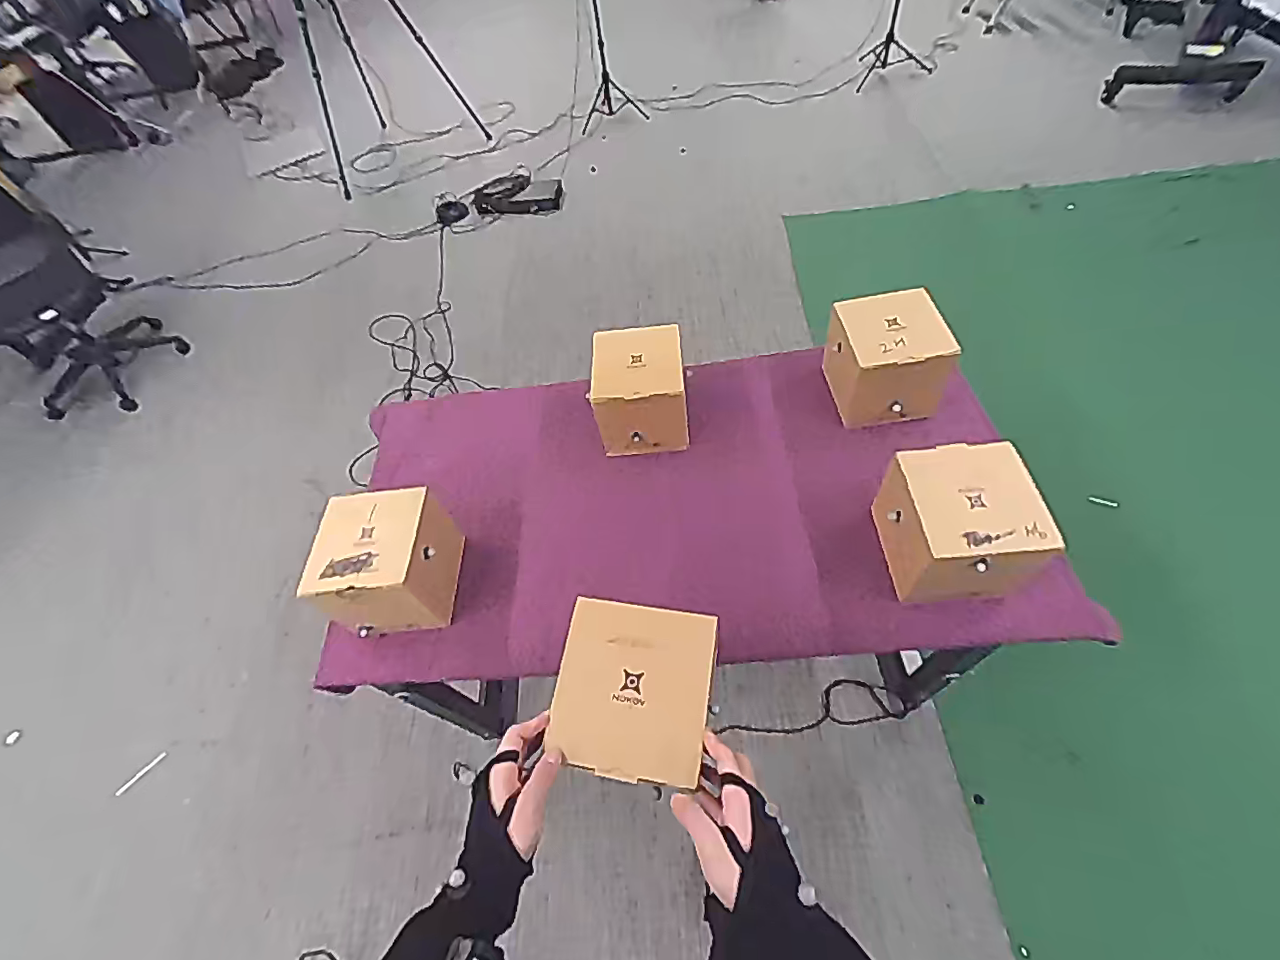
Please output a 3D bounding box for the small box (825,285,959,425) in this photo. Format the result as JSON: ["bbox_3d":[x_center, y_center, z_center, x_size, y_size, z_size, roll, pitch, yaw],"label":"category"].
[{"bbox_3d":[0.452,-0.228,1.005,0.168,0.176,0.179,-9,56,7],"label":"small box"}]

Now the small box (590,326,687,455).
[{"bbox_3d":[0.002,-0.169,1.051,0.168,0.176,0.179,-5,58,6],"label":"small box"}]

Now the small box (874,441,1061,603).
[{"bbox_3d":[0.466,0.066,0.806,0.168,0.176,0.179,-6,56,7],"label":"small box"}]

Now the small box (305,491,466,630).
[{"bbox_3d":[-0.411,0.143,0.908,0.168,0.176,0.179,-6,54,5],"label":"small box"}]

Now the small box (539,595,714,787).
[{"bbox_3d":[-0.002,0.257,0.659,0.168,0.176,0.179,6,63,12],"label":"small box"}]
